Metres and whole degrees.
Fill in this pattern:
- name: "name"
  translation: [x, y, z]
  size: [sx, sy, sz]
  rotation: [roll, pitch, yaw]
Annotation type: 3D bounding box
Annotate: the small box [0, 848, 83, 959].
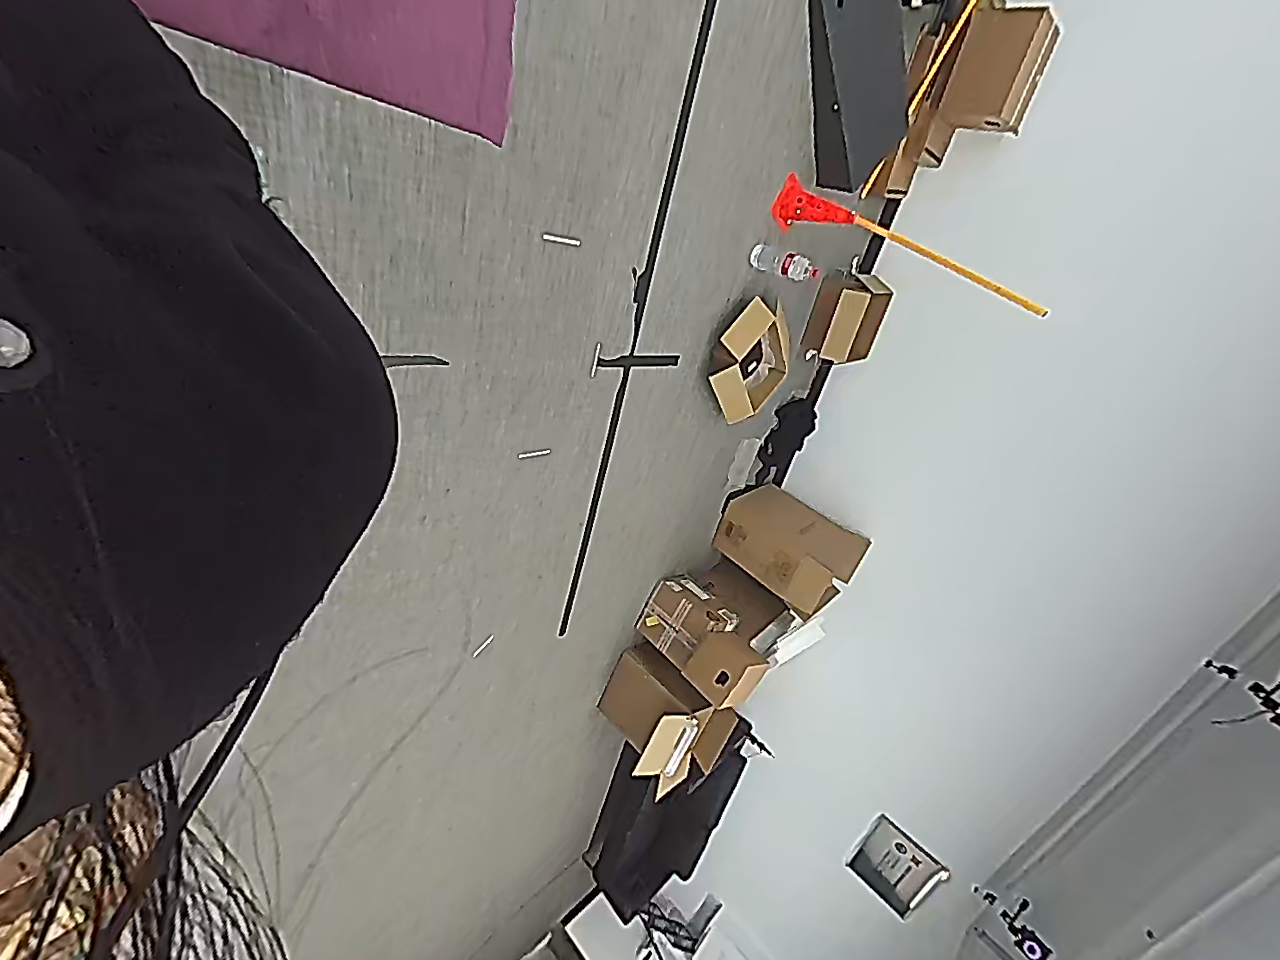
- name: "small box"
  translation: [-1.642, 1.134, 1.441]
  size: [0.168, 0.176, 0.179]
  rotation: [-25, 136, -40]
